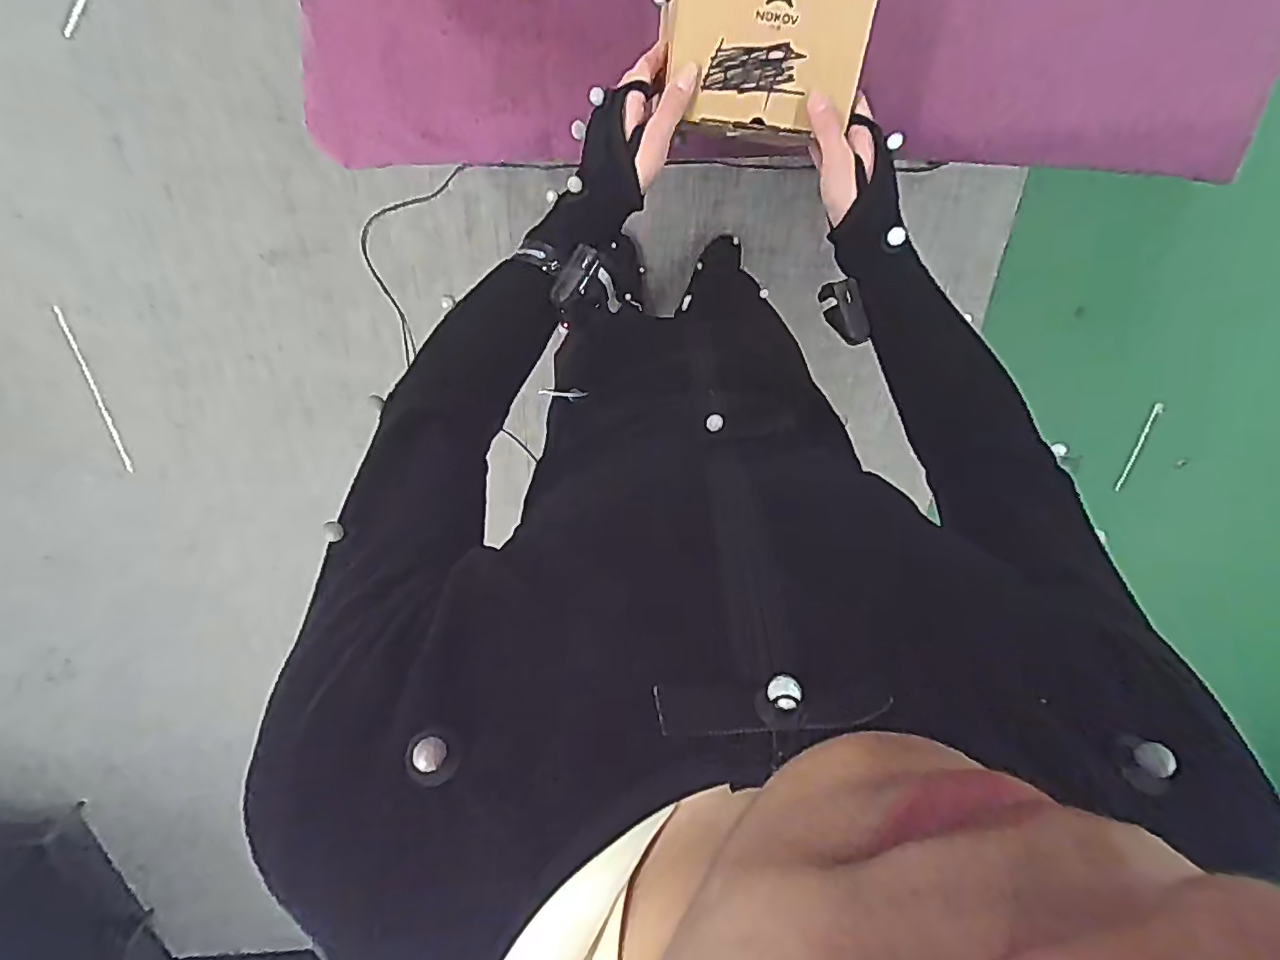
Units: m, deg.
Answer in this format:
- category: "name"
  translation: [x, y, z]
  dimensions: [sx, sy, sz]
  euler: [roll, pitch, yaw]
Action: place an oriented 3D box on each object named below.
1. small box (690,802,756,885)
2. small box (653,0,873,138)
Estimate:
- category: "small box"
  translation: [0.262, 1.173, 1.749]
  dimensions: [0.179, 0.176, 0.168]
  euler: [1, 116, -2]
- category: "small box"
  translation: [0.105, -0.432, 0.506]
  dimensions: [0.168, 0.176, 0.179]
  euler: [3, 119, -6]
